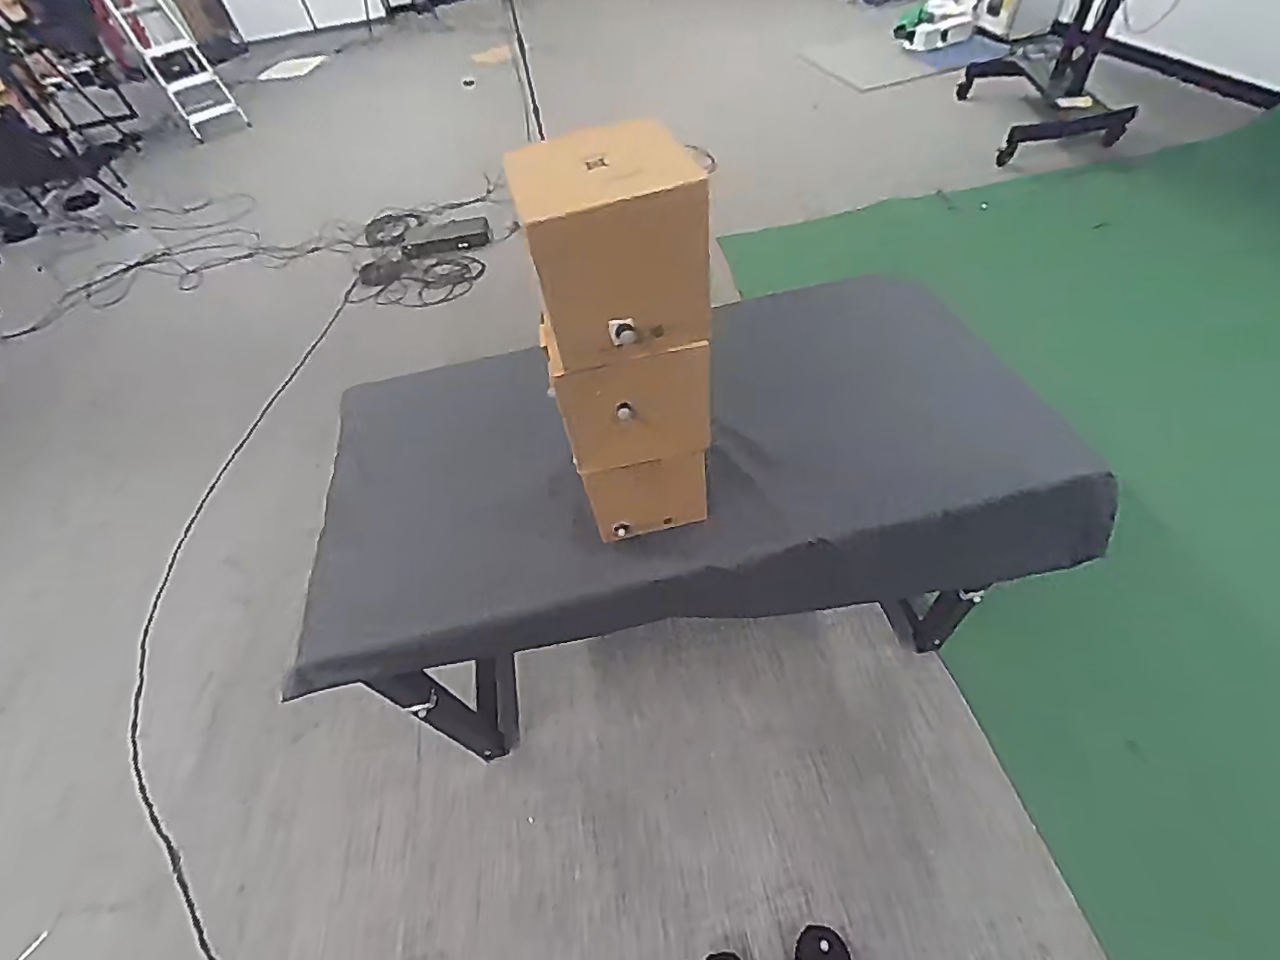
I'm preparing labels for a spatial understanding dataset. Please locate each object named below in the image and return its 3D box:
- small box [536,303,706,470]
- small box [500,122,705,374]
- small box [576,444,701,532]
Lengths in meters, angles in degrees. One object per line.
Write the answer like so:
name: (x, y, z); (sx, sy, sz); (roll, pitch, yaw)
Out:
small box: (-0.021, -0.135, 0.699); (0.179, 0.176, 0.168); (-14, 49, -4)
small box: (-0.036, -0.243, 0.574); (0.168, 0.176, 0.179); (-18, 52, -5)
small box: (-0.007, -0.038, 0.826); (0.168, 0.176, 0.179); (-13, 49, -2)
